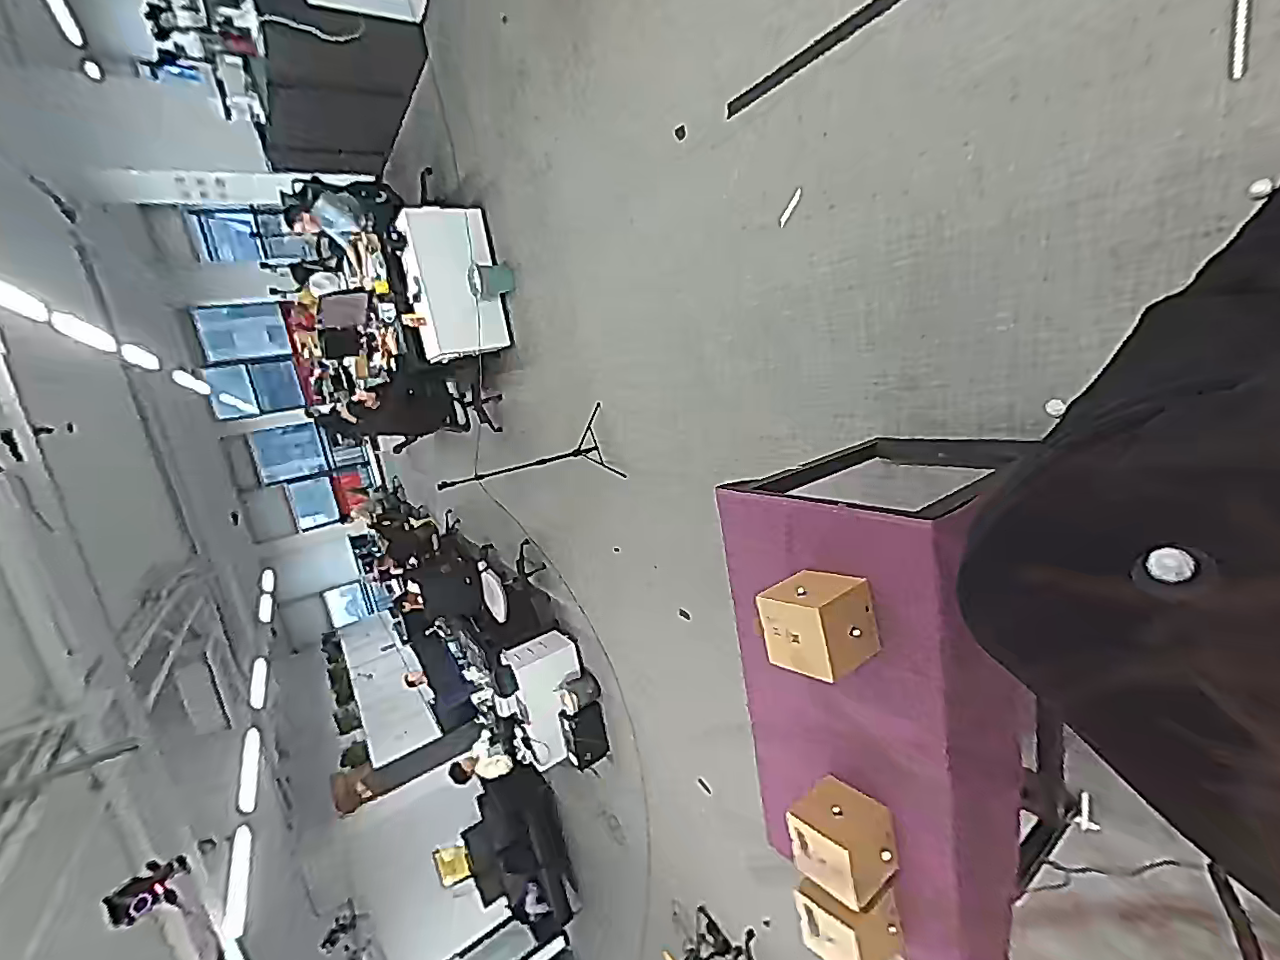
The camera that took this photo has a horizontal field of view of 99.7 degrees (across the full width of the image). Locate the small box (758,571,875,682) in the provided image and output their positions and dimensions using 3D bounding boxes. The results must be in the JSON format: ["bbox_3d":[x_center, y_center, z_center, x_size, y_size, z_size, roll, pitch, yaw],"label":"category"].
[{"bbox_3d":[0.395,0.312,1.196,0.179,0.176,0.168,-2,103,59],"label":"small box"}]

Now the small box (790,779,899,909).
[{"bbox_3d":[0.498,0.871,1.320,0.179,0.176,0.168,2,107,57],"label":"small box"}]
